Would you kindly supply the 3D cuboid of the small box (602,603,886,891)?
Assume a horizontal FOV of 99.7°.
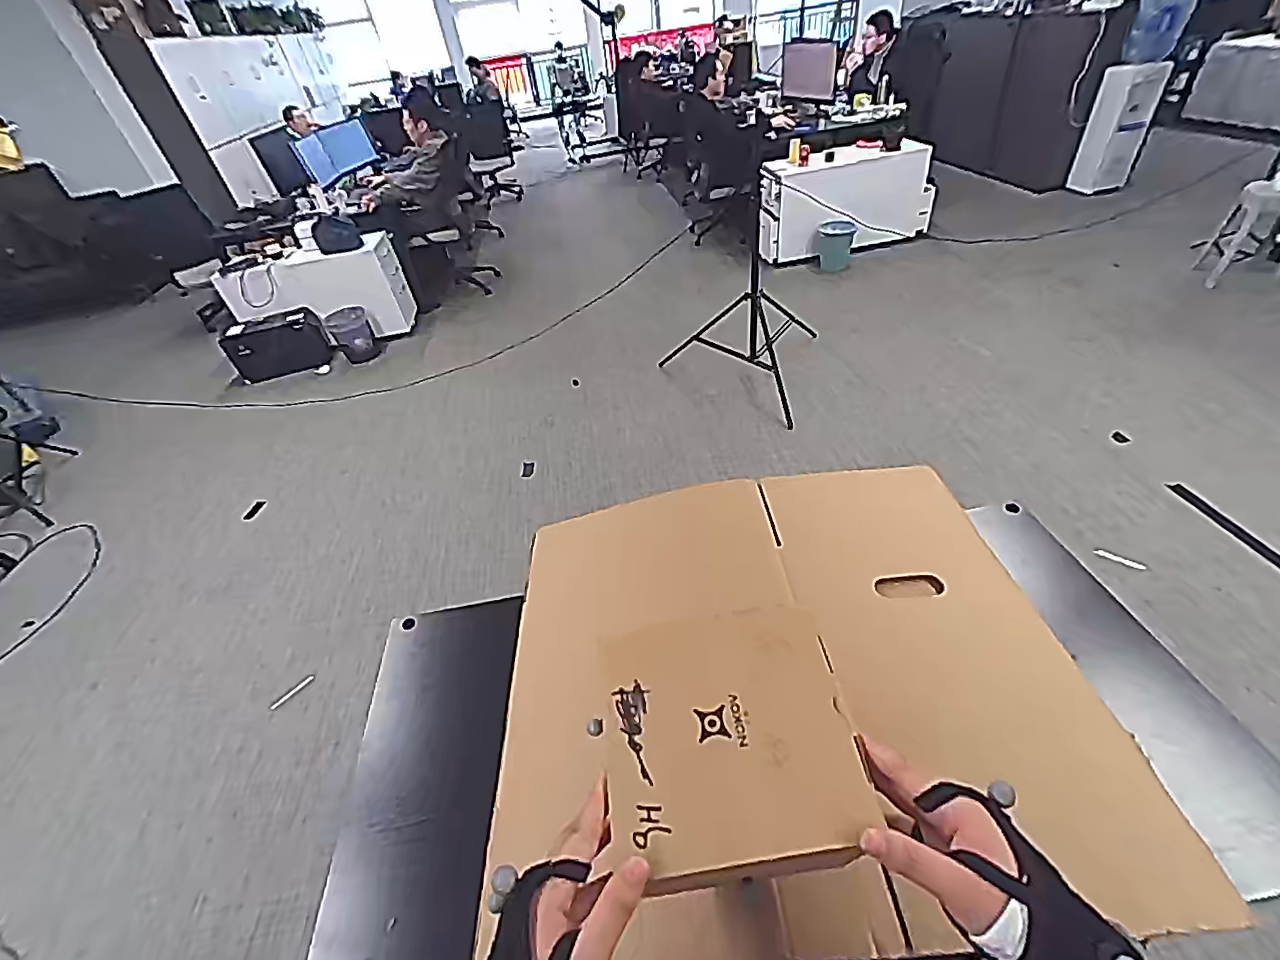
[{"bbox_3d":[0.068,0.225,0.451,0.179,0.176,0.168,-9,48,-1],"label":"small box"}]
